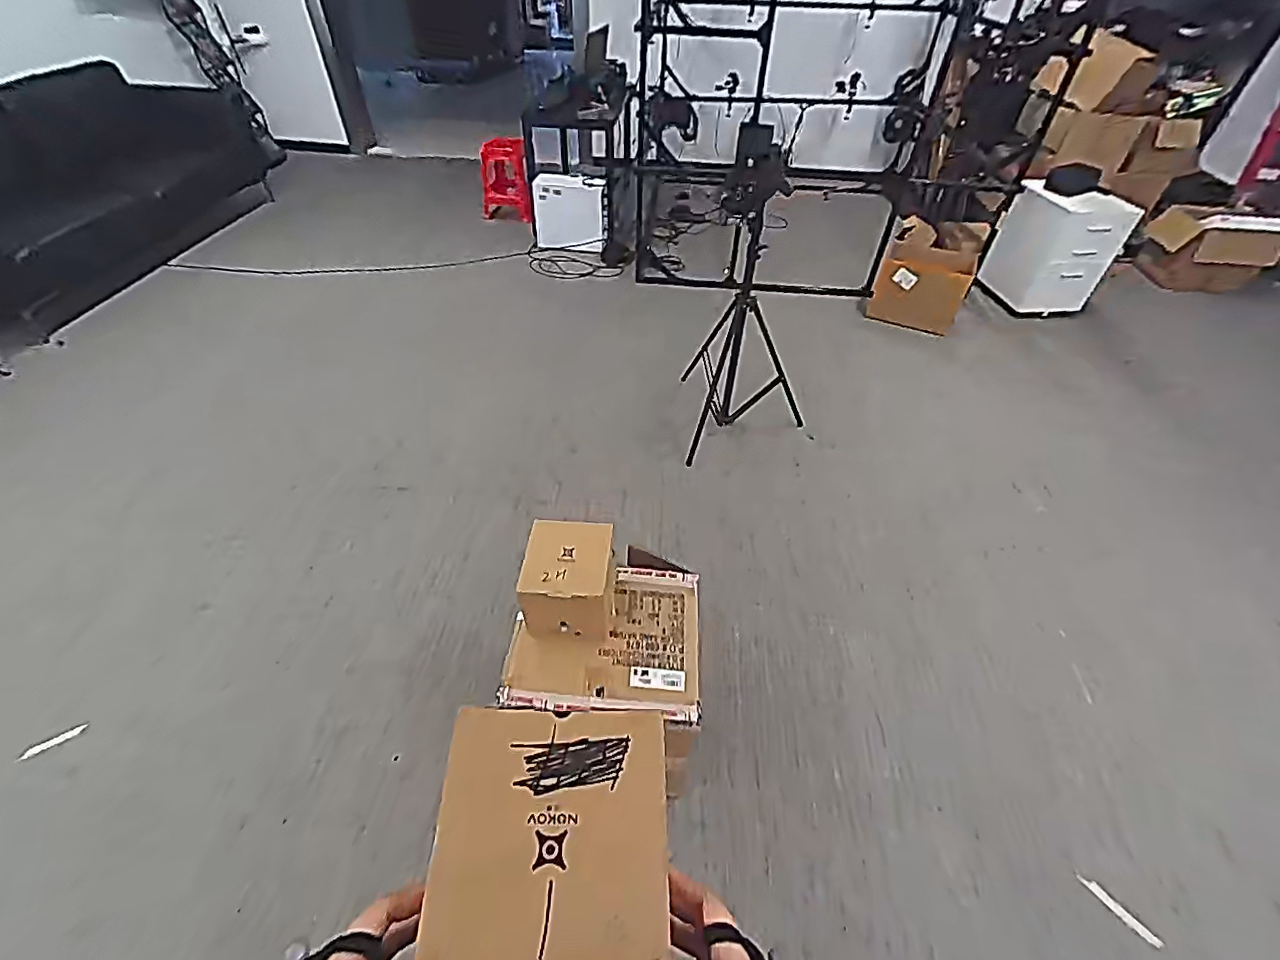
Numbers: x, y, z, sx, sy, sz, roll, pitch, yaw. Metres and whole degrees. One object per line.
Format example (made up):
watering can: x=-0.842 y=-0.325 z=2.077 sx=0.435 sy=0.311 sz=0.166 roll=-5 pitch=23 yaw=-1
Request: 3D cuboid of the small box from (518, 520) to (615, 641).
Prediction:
small box: x=-0.141 y=0.205 z=1.108 sx=0.168 sy=0.176 sz=0.179 roll=3 pitch=47 yaw=3
